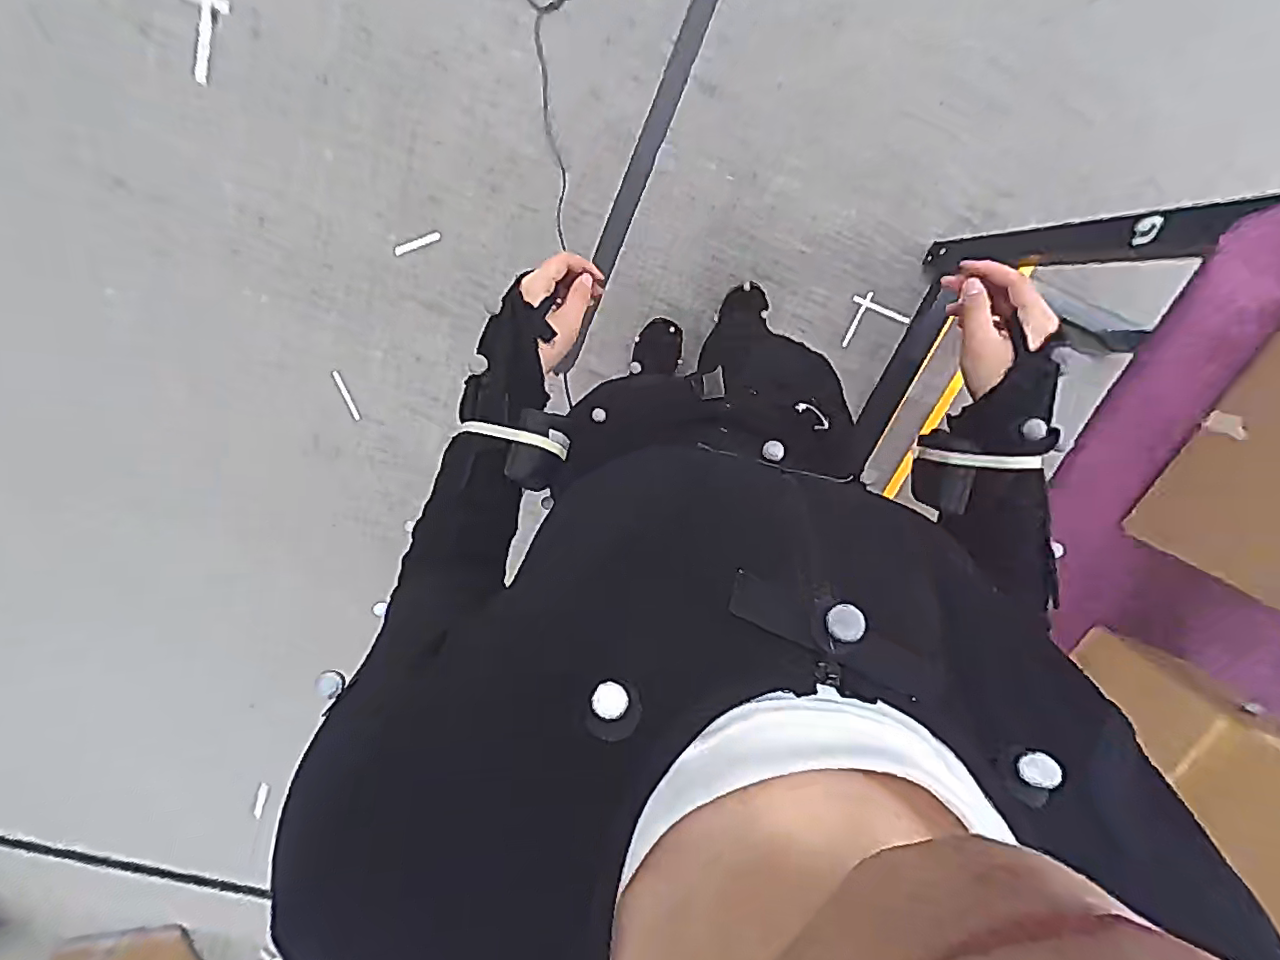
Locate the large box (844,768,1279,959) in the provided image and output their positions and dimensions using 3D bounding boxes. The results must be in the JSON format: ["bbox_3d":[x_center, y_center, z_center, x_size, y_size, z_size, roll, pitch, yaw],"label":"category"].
[{"bbox_3d":[0.573,0.660,0.732,0.408,0.320,0.320,20,108,-11],"label":"large box"}]
